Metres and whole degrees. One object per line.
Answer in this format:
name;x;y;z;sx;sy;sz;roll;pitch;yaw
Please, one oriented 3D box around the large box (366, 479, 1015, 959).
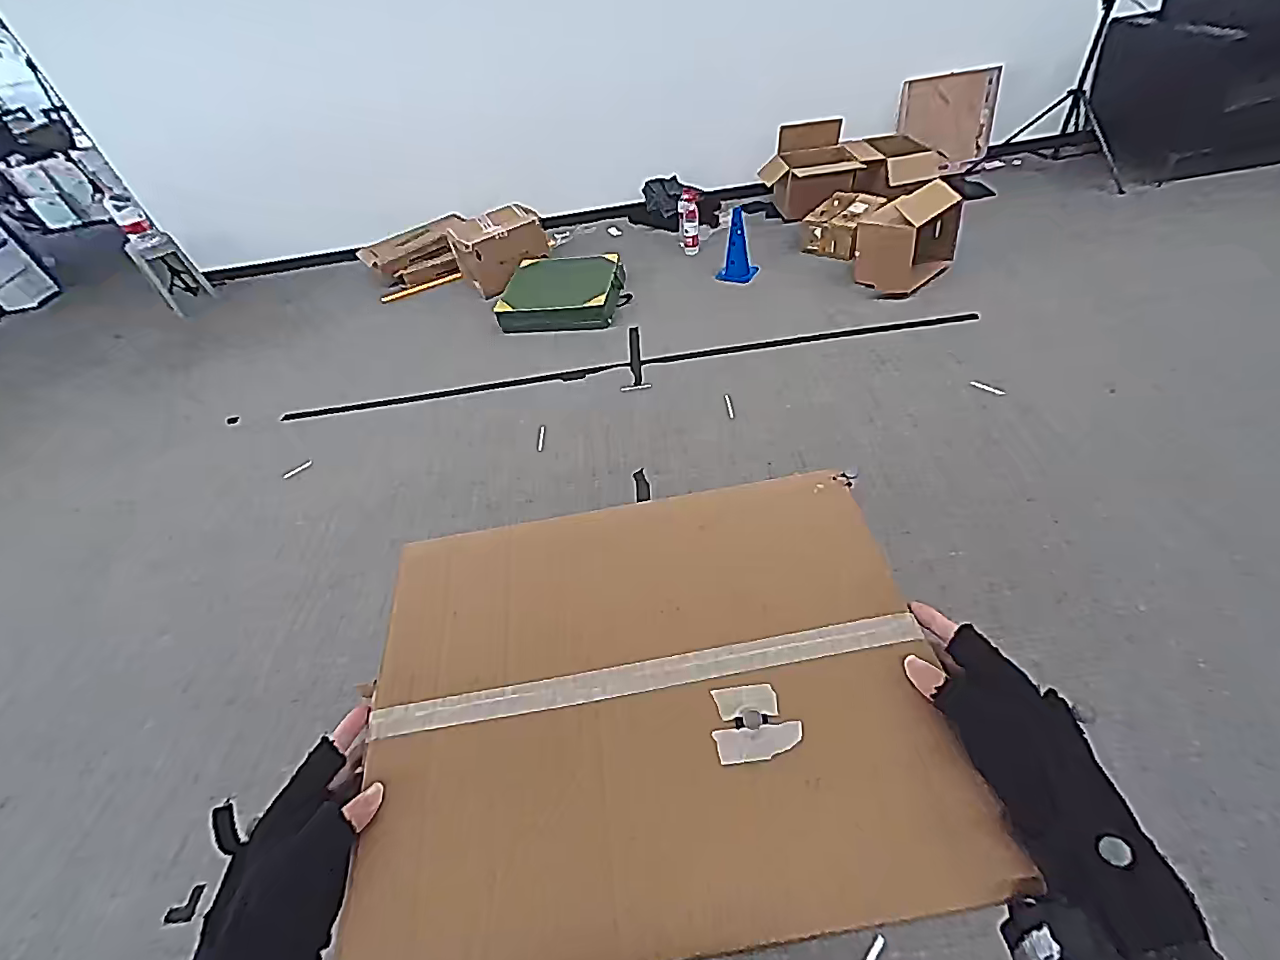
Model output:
large box;0.023;0.242;0.525;0.408;0.320;0.320;-10;52;-1
